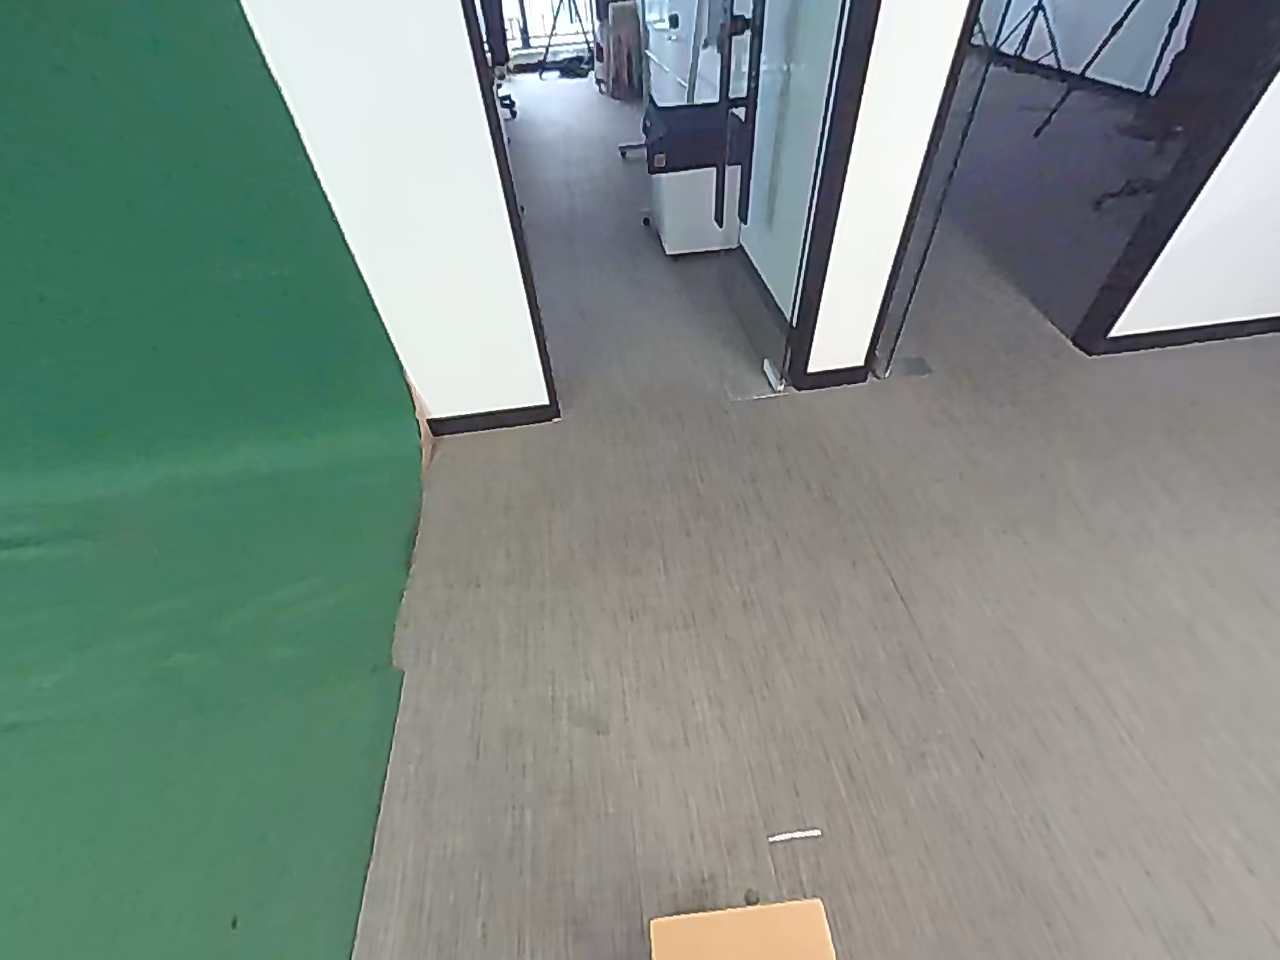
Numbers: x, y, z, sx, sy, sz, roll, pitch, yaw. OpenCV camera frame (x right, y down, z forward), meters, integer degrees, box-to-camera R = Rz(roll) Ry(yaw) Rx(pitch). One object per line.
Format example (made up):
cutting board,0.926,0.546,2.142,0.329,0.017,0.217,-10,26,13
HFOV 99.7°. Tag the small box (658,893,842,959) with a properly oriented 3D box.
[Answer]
small box,0.108,0.518,0.519,0.168,0.176,0.179,-7,51,1
